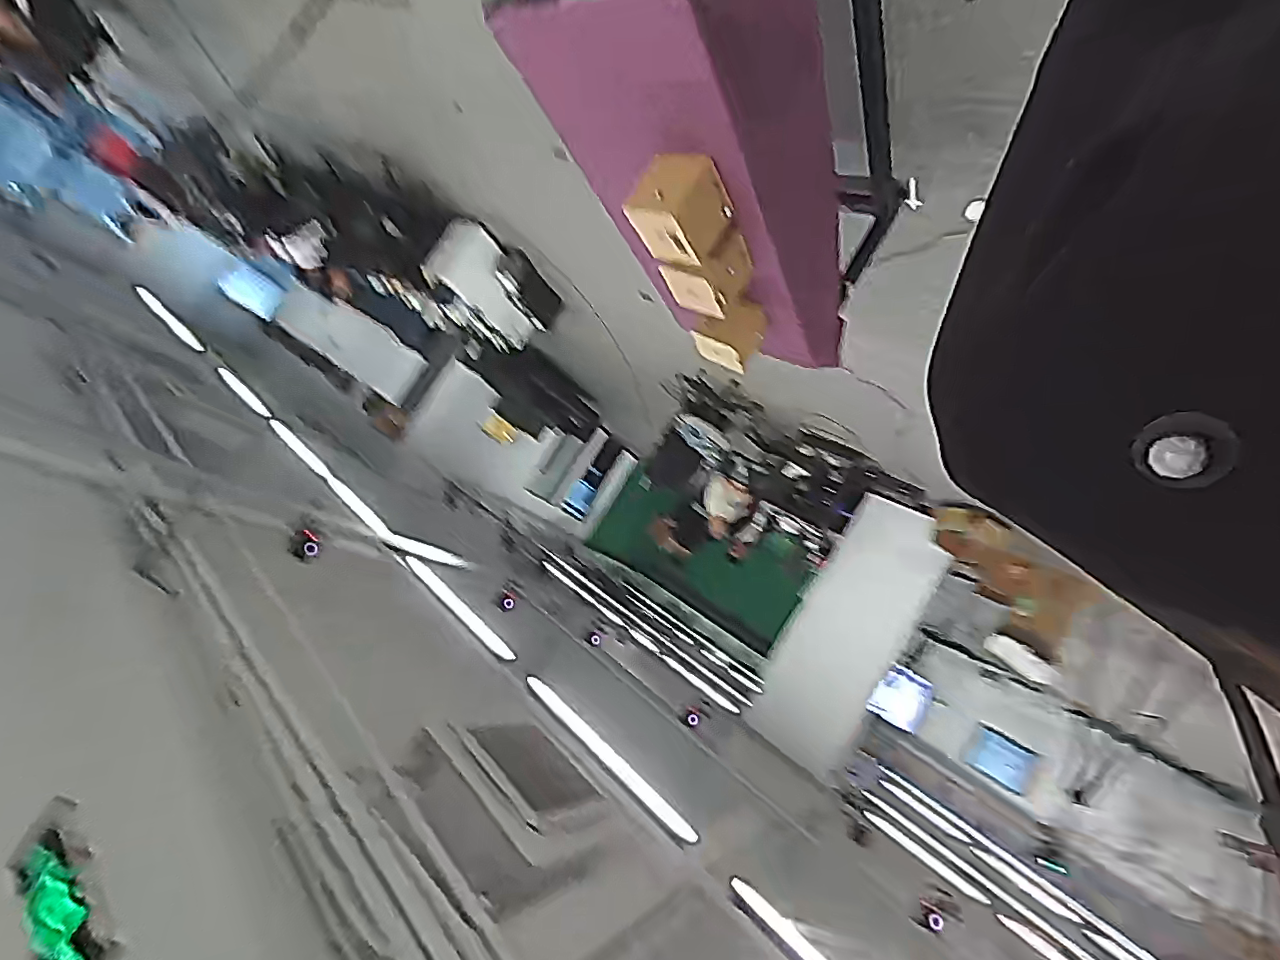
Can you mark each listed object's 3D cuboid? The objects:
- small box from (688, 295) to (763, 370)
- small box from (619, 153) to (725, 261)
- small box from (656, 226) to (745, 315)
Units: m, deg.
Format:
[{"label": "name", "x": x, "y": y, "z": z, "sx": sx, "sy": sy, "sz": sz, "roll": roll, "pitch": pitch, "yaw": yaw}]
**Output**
[{"label": "small box", "x": 0.288, "y": -0.501, "z": 1.800, "sx": 0.179, "sy": 0.176, "sz": 0.168, "roll": 30, "pitch": 175, "yaw": 23}, {"label": "small box", "x": 0.088, "y": -0.673, "z": 1.331, "sx": 0.179, "sy": 0.176, "sz": 0.168, "roll": 30, "pitch": 175, "yaw": 37}, {"label": "small box", "x": 0.179, "y": -0.599, "z": 1.518, "sx": 0.179, "sy": 0.176, "sz": 0.168, "roll": 30, "pitch": 174, "yaw": 29}]
